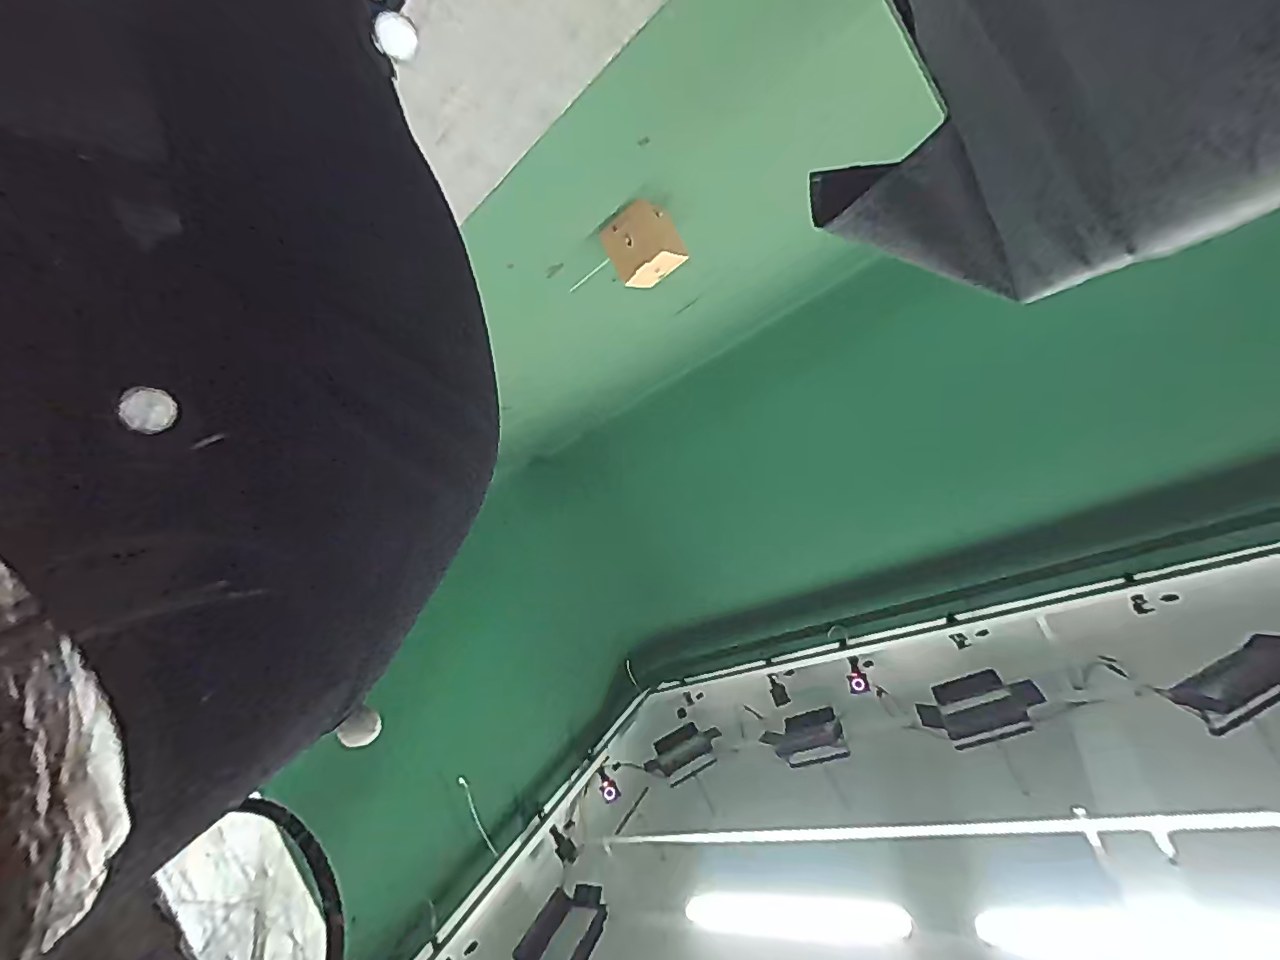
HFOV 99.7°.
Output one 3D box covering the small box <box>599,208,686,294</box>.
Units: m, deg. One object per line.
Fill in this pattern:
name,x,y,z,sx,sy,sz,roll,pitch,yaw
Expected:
small box,0.005,-0.691,1.636,0.168,0.176,0.179,-28,178,33
